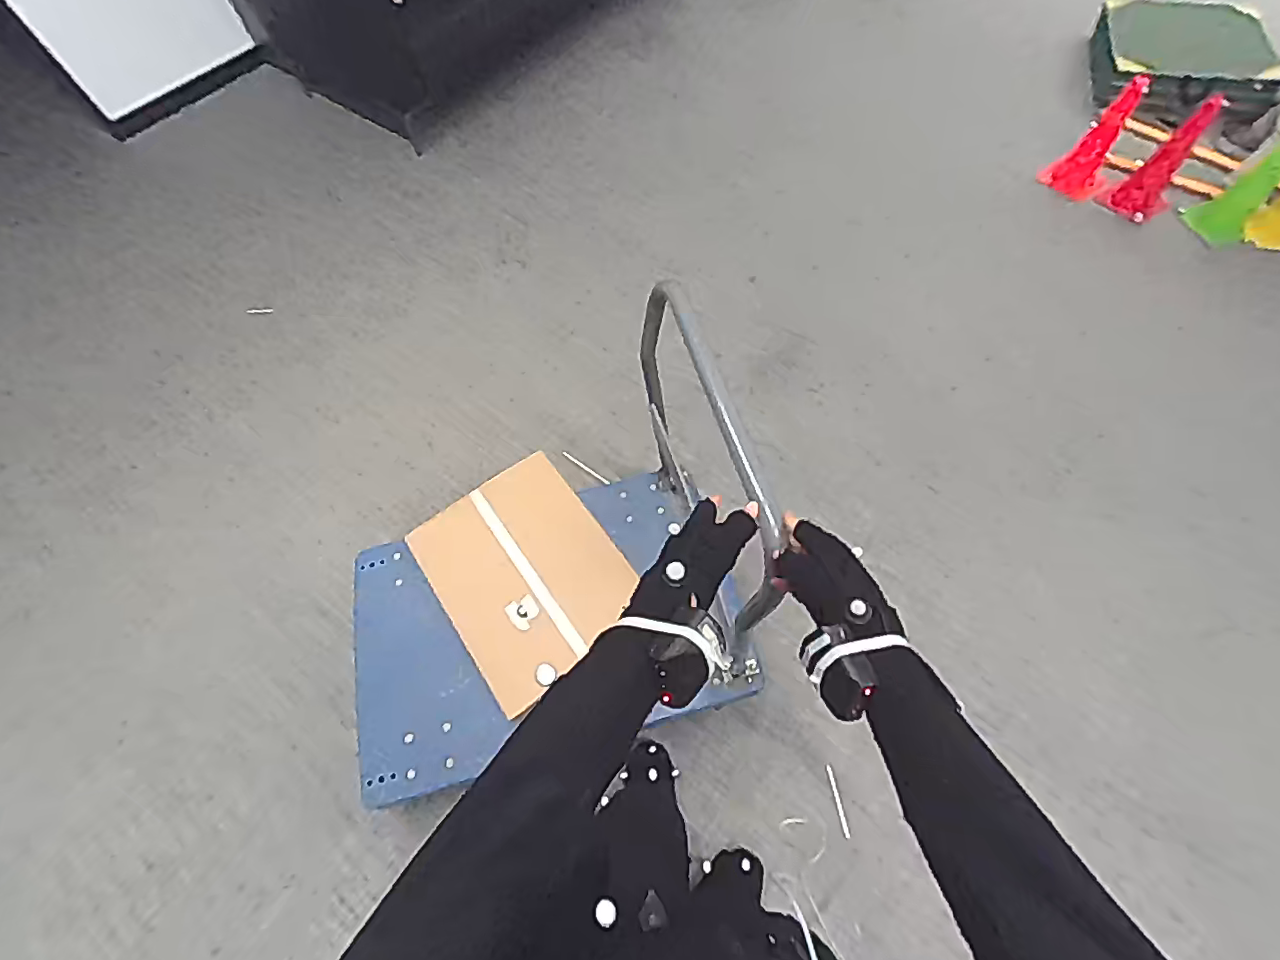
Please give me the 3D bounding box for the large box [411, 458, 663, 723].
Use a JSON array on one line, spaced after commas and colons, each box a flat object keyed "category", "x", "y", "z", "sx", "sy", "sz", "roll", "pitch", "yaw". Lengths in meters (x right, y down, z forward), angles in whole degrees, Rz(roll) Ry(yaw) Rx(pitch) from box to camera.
[{"category": "large box", "x": -0.194, "y": 0.236, "z": 1.132, "sx": 0.320, "sy": 0.320, "sz": 0.408, "roll": -37, "pitch": 67, "yaw": -13}]
